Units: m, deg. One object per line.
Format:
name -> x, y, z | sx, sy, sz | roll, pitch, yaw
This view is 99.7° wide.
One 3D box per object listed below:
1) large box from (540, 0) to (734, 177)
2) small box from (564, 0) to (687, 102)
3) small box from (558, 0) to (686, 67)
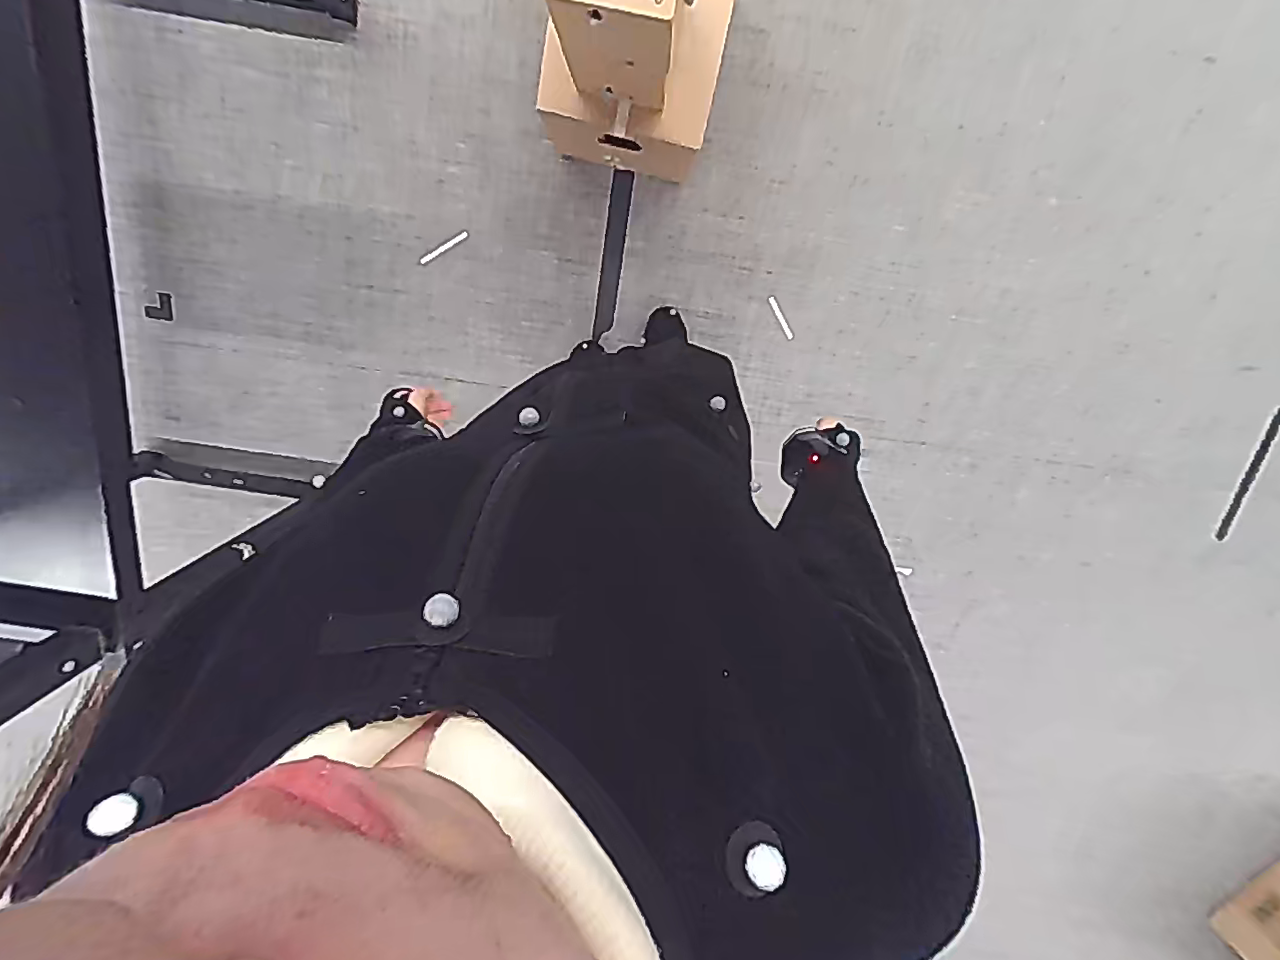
large box -> 0.006, -0.879, 1.069 | 0.320, 0.320, 0.408 | 11, 107, -5
small box -> -0.015, -0.743, 0.856 | 0.168, 0.176, 0.179 | 12, 108, -3
small box -> -0.016, -0.687, 0.702 | 0.168, 0.176, 0.179 | 11, 107, -1
